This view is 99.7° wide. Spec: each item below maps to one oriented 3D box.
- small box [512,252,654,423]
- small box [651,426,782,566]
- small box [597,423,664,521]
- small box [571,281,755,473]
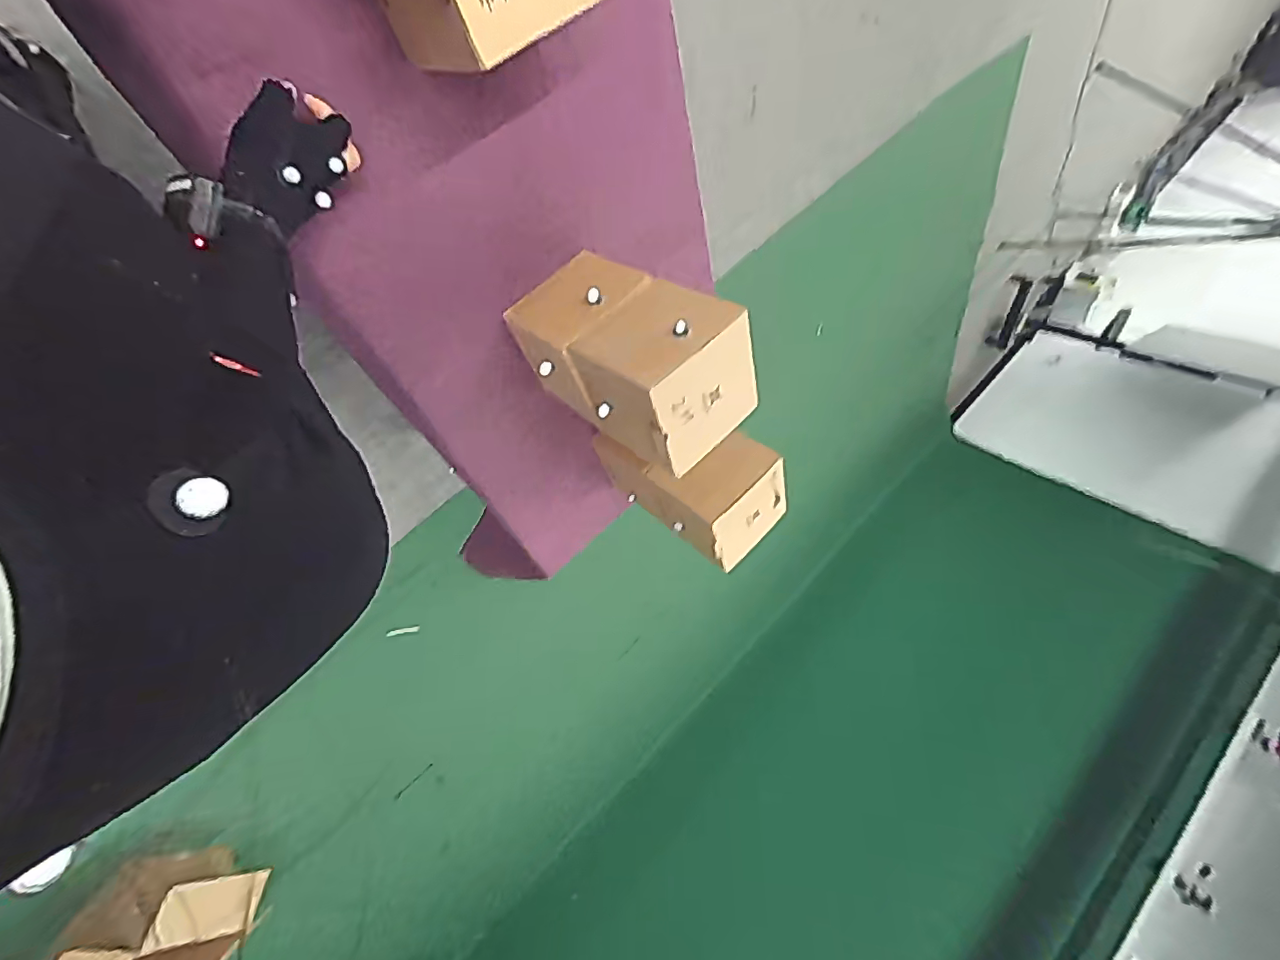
[{"bbox_3d":[-0.076,-0.226,0.847,0.179,0.176,0.168,-43,142,-15],"label":"small box"},{"bbox_3d":[0.137,0.018,0.995,0.179,0.176,0.168,-40,142,-16],"label":"small box"},{"bbox_3d":[0.033,-0.058,1.097,0.179,0.176,0.168,-41,142,-17],"label":"small box"},{"bbox_3d":[0.036,-0.150,0.752,0.179,0.176,0.168,-41,141,-17],"label":"small box"}]
